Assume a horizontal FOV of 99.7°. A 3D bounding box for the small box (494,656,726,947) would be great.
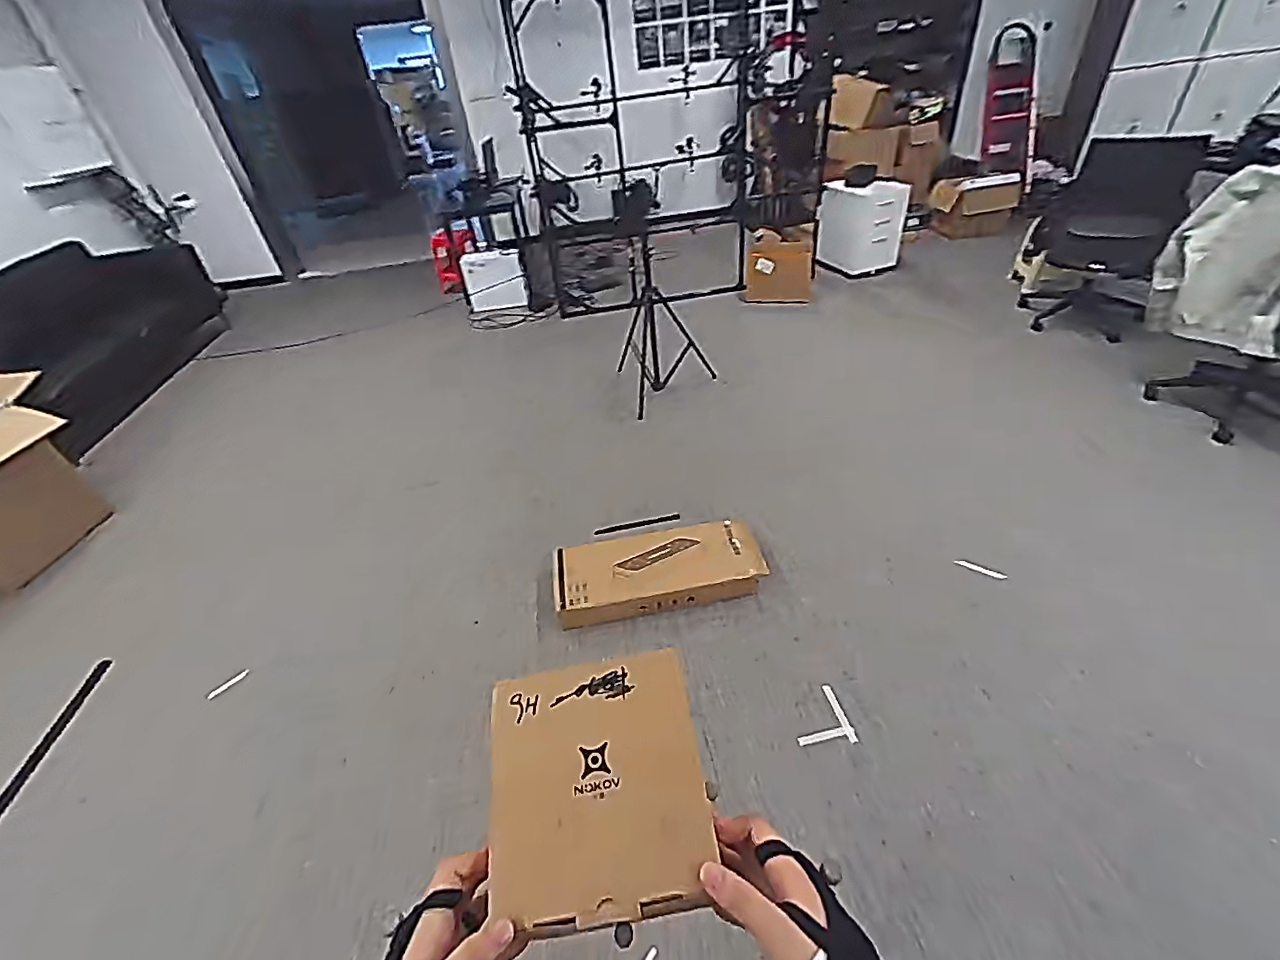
[{"bbox_3d":[-0.024,0.283,0.481,0.168,0.176,0.179,-10,50,-2],"label":"small box"}]
